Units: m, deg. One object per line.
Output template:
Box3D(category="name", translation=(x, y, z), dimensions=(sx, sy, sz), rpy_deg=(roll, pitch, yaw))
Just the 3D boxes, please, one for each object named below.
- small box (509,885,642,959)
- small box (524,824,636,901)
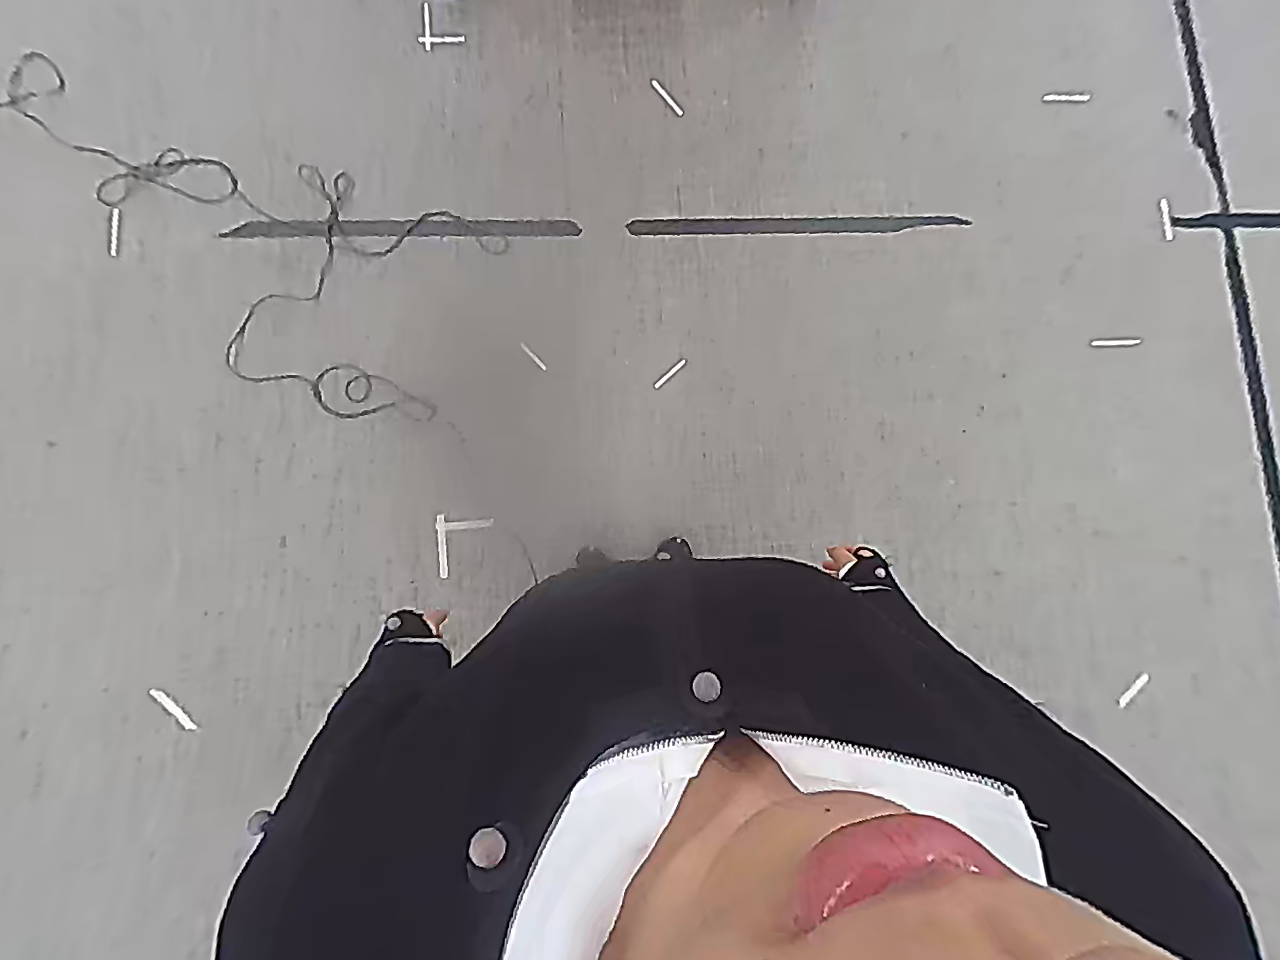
Box3D(category="small box", translation=(-0.084, 0.672, 0.715), dimensions=(0.168, 0.176, 0.179), rpy_deg=(1, 81, -2))
Box3D(category="small box", translation=(-0.090, 0.695, 0.877), dimensions=(0.168, 0.176, 0.179), rpy_deg=(-3, 81, -3))
